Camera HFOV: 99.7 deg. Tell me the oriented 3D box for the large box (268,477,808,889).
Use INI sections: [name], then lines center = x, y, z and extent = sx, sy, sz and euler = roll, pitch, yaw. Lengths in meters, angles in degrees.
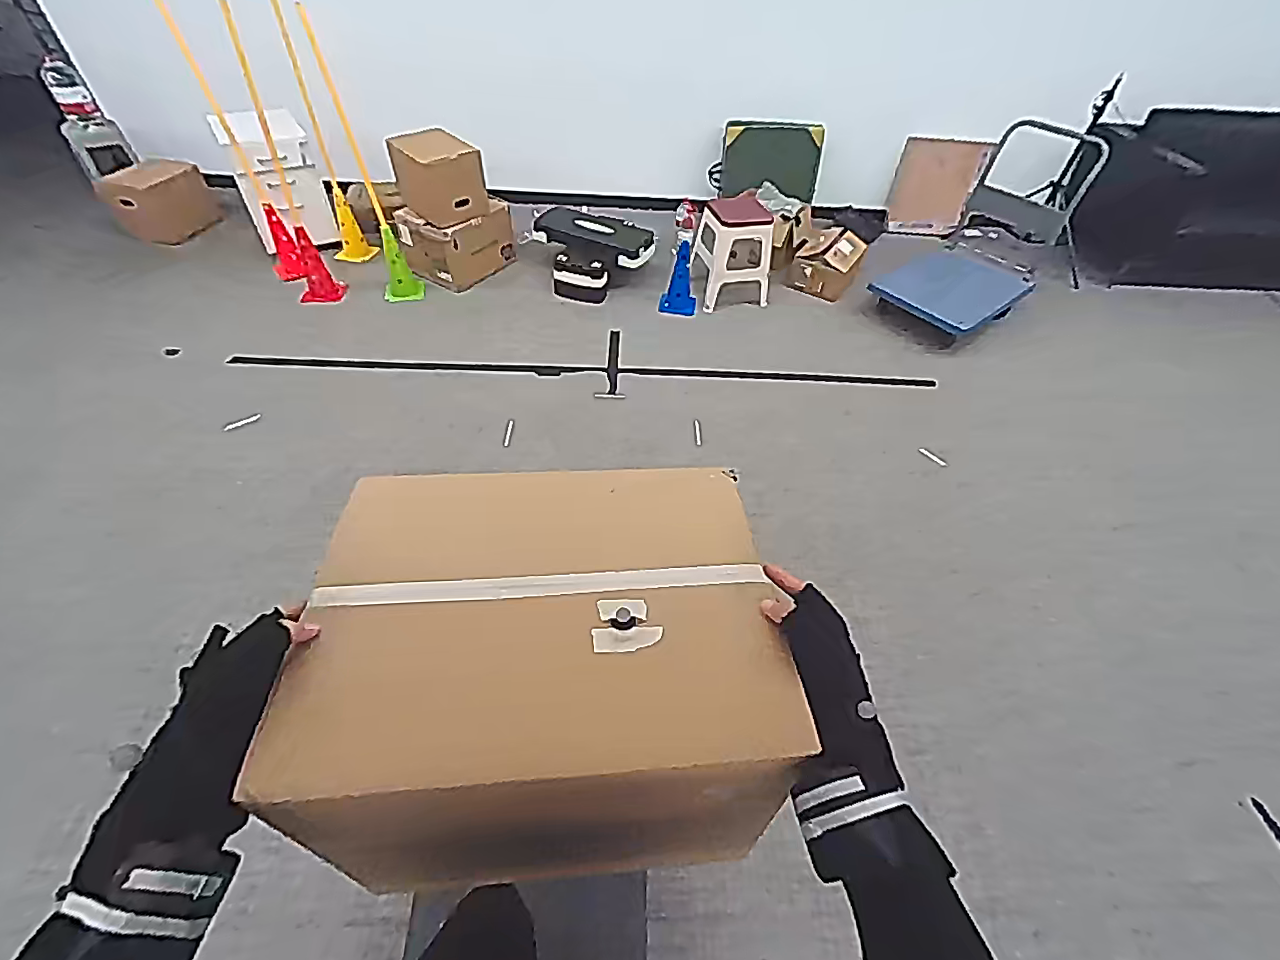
[large box]
center = -0.088, 0.215, 0.604
extent = 0.408, 0.320, 0.320
euler = -2, 44, -6
